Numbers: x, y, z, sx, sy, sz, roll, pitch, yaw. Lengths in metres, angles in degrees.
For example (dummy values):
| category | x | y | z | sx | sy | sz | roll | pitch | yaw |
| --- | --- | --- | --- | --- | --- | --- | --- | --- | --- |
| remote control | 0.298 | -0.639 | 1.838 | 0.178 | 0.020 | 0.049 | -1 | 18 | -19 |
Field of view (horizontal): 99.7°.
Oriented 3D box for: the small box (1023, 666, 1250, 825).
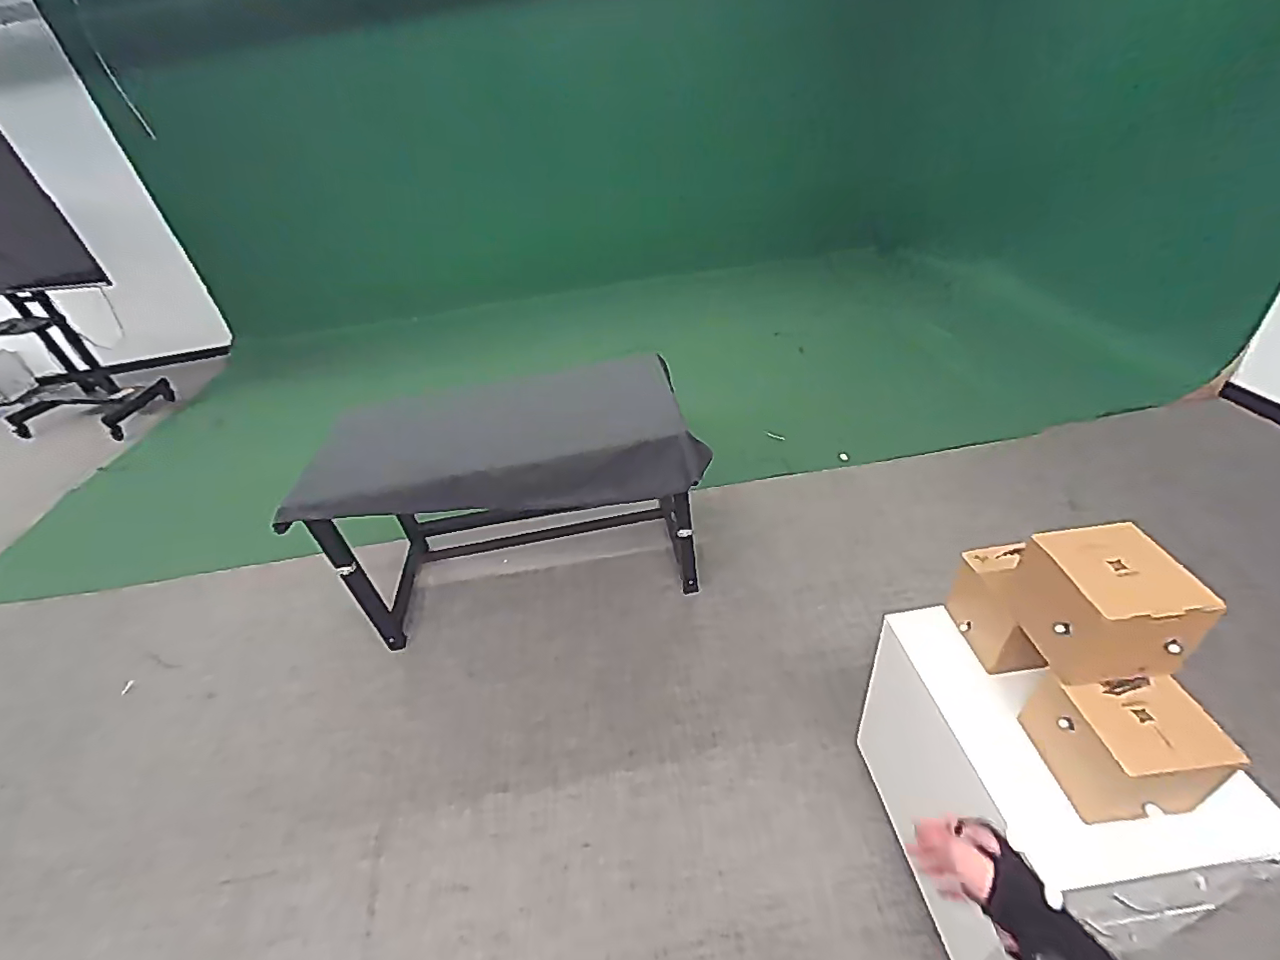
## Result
| category | x | y | z | sx | sy | sz | roll | pitch | yaw |
| --- | --- | --- | --- | --- | --- | --- | --- | --- | --- |
| small box | 0.747 | 0.404 | 0.844 | 0.168 | 0.176 | 0.179 | -8 | 37 | 2 |

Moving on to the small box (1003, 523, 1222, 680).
| category | x | y | z | sx | sy | sz | roll | pitch | yaw |
| --- | --- | --- | --- | --- | --- | --- | --- | --- | --- |
| small box | 0.722 | 0.196 | 0.854 | 0.168 | 0.176 | 0.179 | -8 | 36 | 1 |

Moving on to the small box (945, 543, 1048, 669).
| category | x | y | z | sx | sy | sz | roll | pitch | yaw |
| --- | --- | --- | --- | --- | --- | --- | --- | --- | --- |
| small box | 0.731 | 0.249 | 1.052 | 0.168 | 0.176 | 0.179 | -9 | 39 | 0 |
